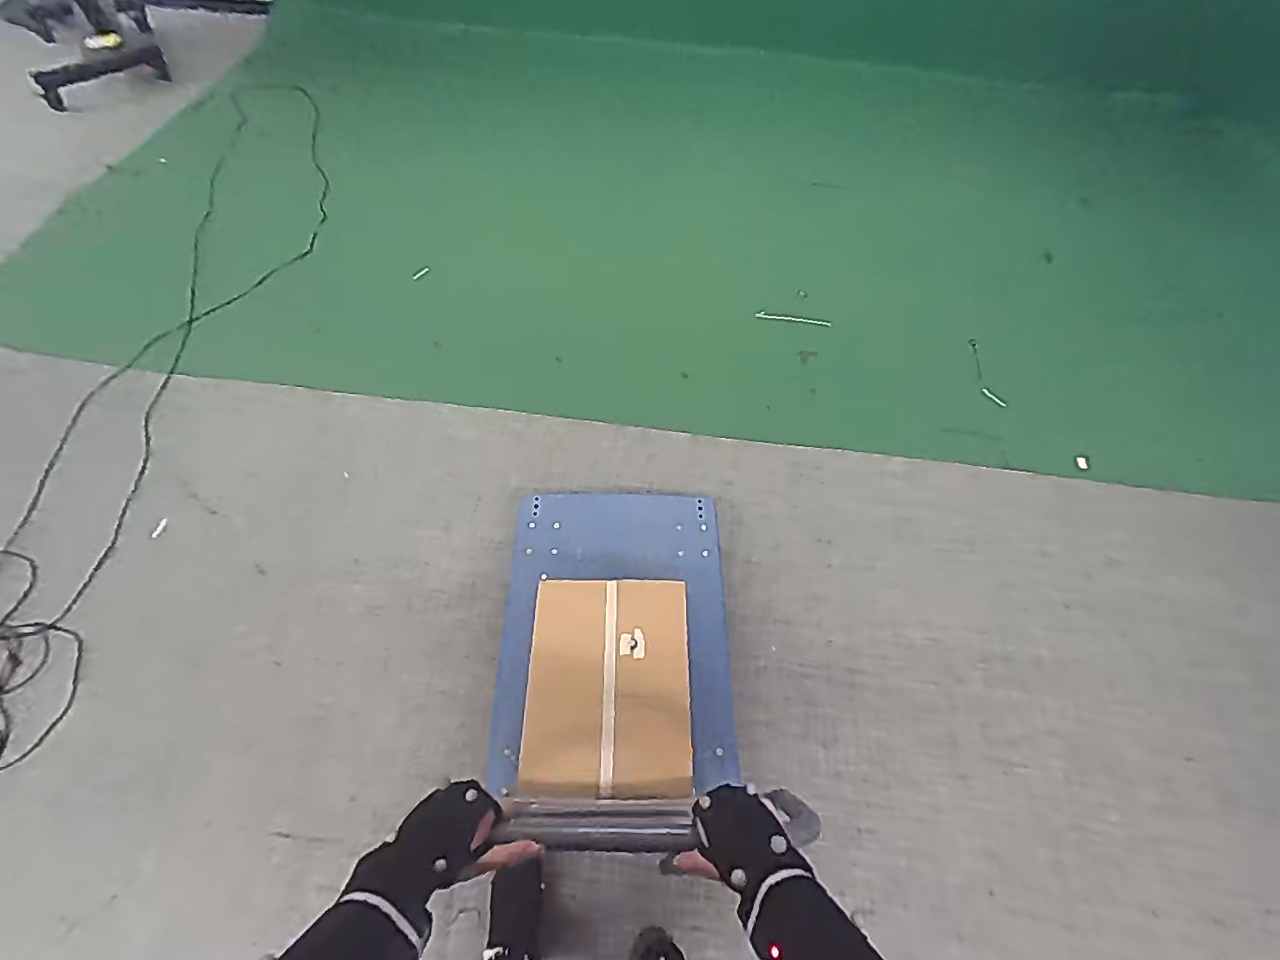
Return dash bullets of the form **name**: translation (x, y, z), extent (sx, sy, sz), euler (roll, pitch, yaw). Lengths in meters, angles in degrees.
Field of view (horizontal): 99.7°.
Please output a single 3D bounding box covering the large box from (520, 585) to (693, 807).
- **large box**: translation (-0.064, 0.476, 1.186), extent (0.320, 0.320, 0.408), euler (1, 57, -2)
